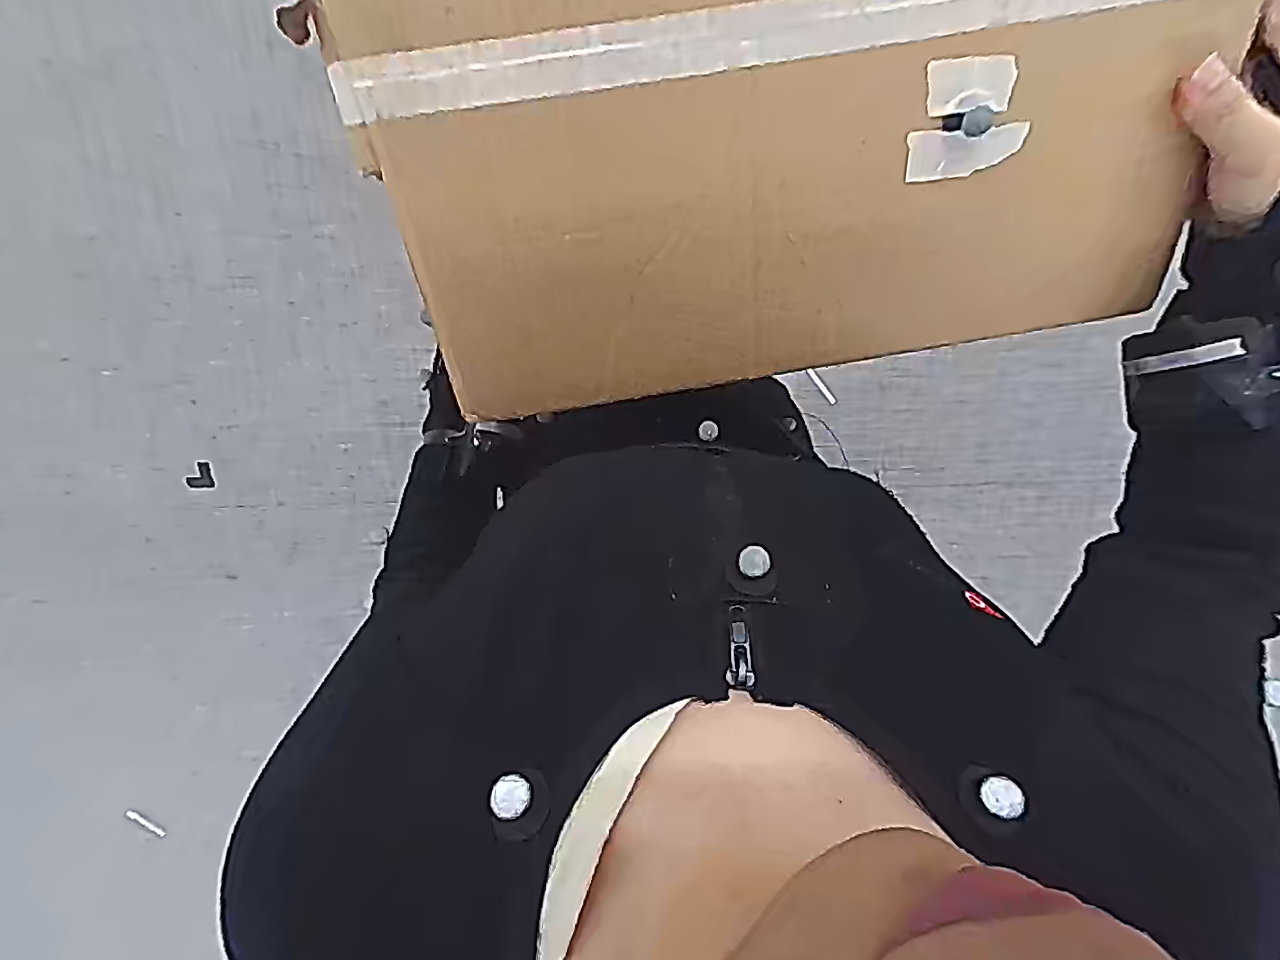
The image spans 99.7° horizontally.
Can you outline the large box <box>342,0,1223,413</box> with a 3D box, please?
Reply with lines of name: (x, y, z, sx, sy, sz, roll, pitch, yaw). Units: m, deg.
large box: (0.057, -0.279, 0.369, 0.408, 0.320, 0.320, -11, 123, -3)
